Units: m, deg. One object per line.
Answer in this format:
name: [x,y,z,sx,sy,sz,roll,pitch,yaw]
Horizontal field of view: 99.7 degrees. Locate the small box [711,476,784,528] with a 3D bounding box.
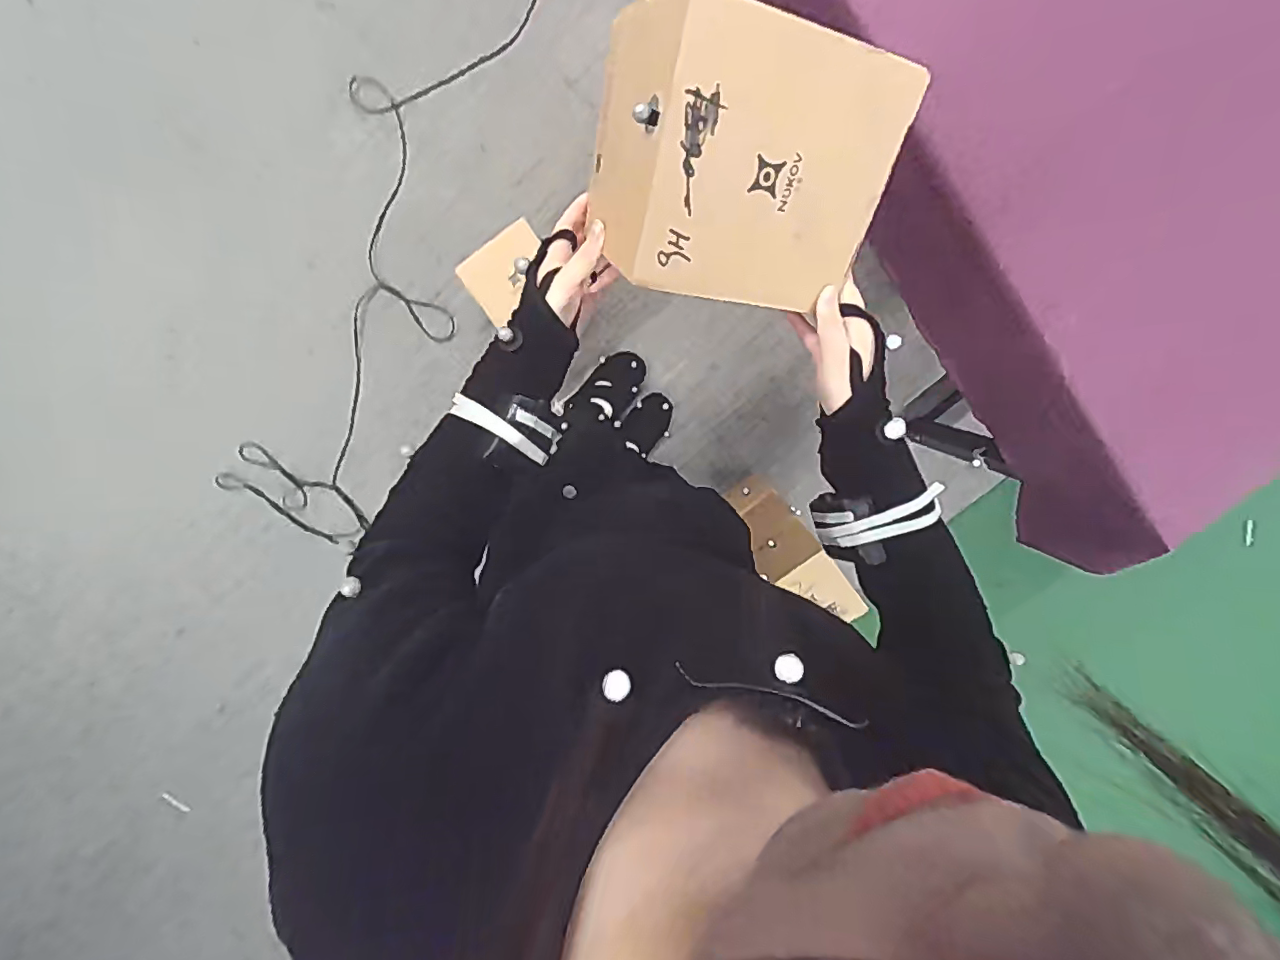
small box: [0.313,0.106,1.462,0.168,0.176,0.179,-36,106,6]

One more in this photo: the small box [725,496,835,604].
small box: [0.329,0.158,1.308,0.168,0.176,0.179,-39,106,8]

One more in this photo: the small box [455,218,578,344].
small box: [-0.242,-0.397,1.104,0.168,0.176,0.179,-34,106,6]

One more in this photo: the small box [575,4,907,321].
small box: [0.061,-0.244,0.435,0.179,0.176,0.168,1,123,-22]

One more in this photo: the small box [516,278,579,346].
small box: [-0.255,-0.432,1.264,0.179,0.176,0.168,-37,106,6]
